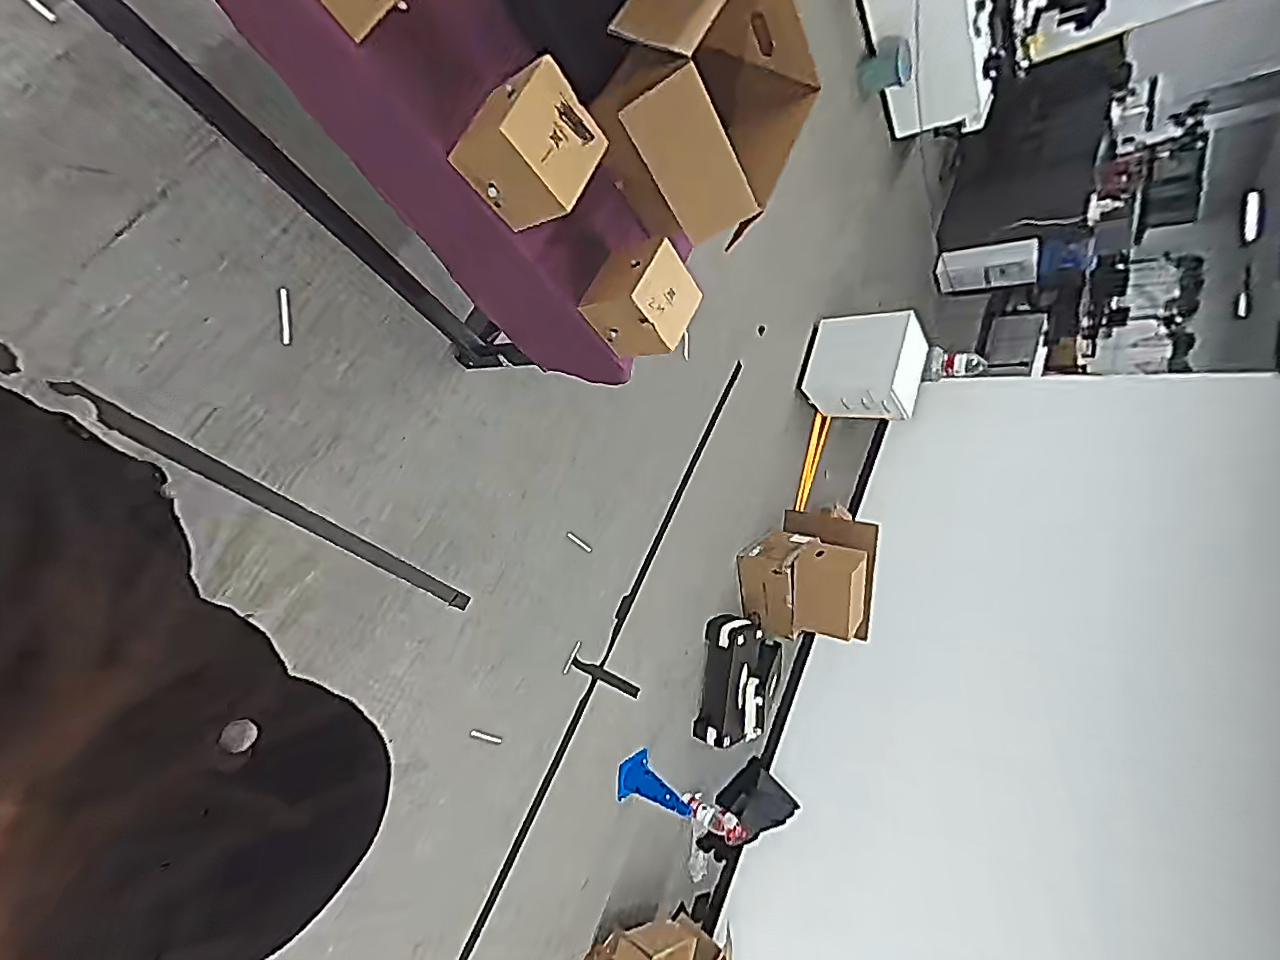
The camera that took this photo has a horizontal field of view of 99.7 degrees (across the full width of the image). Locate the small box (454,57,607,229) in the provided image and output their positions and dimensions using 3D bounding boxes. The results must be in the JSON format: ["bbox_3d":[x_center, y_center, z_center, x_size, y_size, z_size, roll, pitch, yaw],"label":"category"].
[{"bbox_3d":[-0.194,-0.580,0.953,0.168,0.176,0.179,39,69,-43],"label":"small box"}]

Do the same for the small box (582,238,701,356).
[{"bbox_3d":[0.002,-0.395,1.192,0.168,0.176,0.179,45,64,-40],"label":"small box"}]
